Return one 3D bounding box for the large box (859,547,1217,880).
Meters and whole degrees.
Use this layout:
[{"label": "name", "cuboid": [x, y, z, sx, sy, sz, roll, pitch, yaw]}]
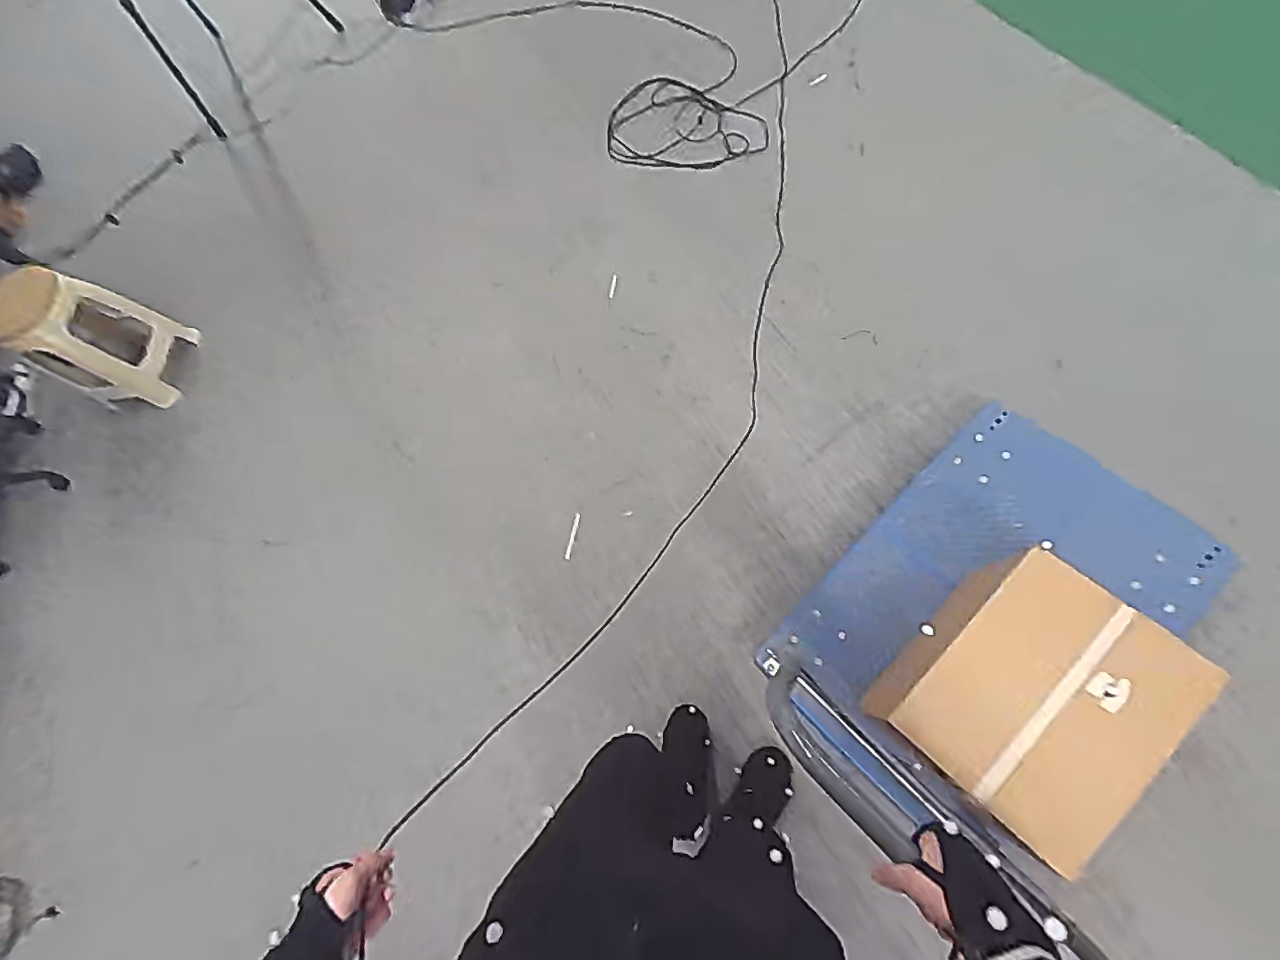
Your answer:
[{"label": "large box", "cuboid": [0.676, 0.400, 0.998, 0.320, 0.320, 0.408, 41, 84, 20]}]
